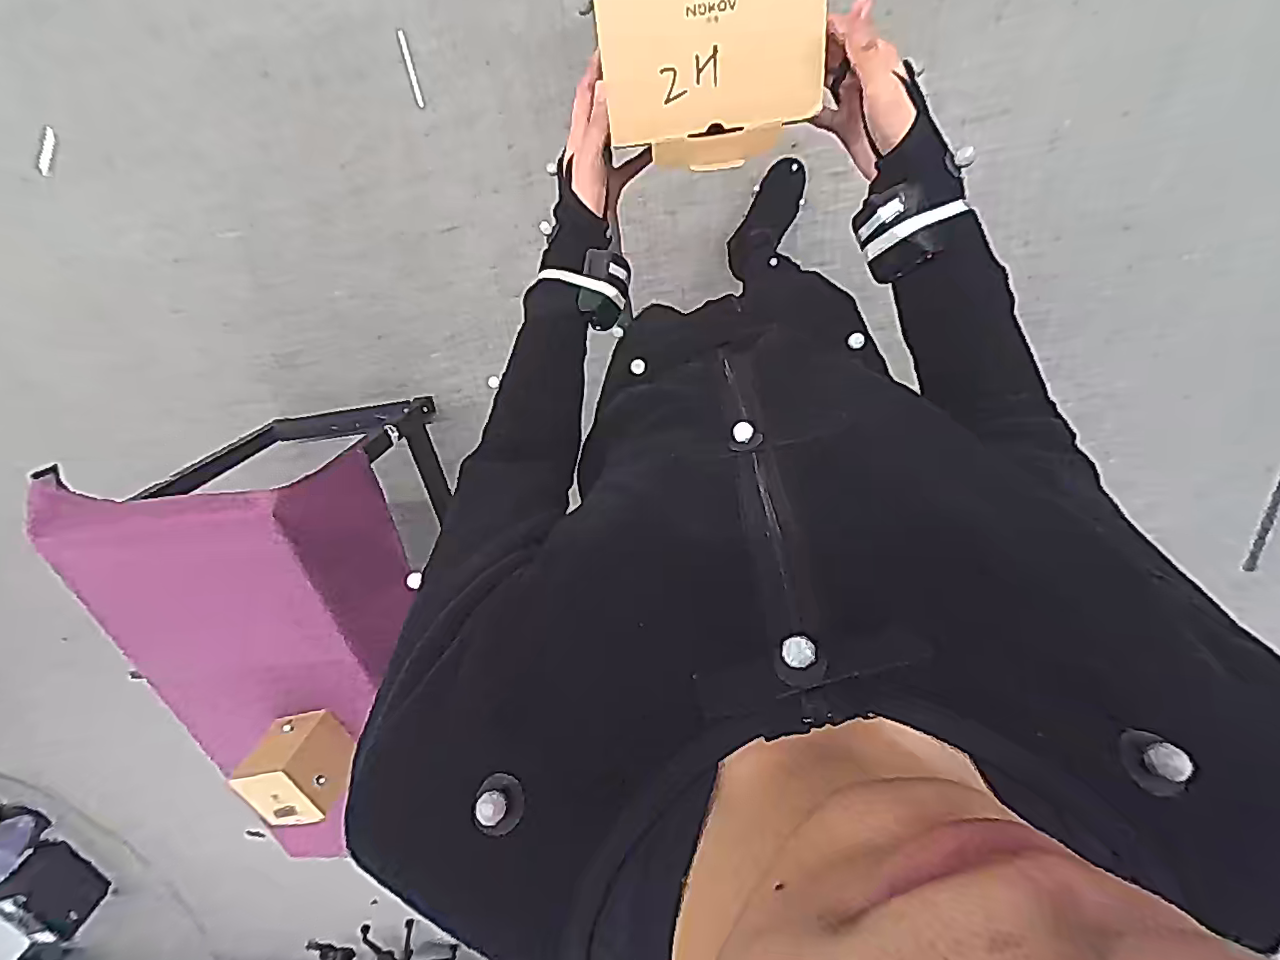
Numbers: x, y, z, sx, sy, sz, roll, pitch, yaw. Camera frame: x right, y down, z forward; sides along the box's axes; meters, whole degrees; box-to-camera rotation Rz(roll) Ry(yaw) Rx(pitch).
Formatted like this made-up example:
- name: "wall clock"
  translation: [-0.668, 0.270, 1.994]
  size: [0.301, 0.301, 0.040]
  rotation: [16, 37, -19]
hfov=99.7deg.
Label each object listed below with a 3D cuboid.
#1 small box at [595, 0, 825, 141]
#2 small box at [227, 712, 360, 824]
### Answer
- name: "small box"
  translation: [0.047, -0.390, 0.445]
  size: [0.168, 0.176, 0.179]
  rotation: [-6, 123, 4]
- name: "small box"
  translation: [-0.824, 0.694, 1.309]
  size: [0.168, 0.176, 0.179]
  rotation: [-16, 115, 14]
